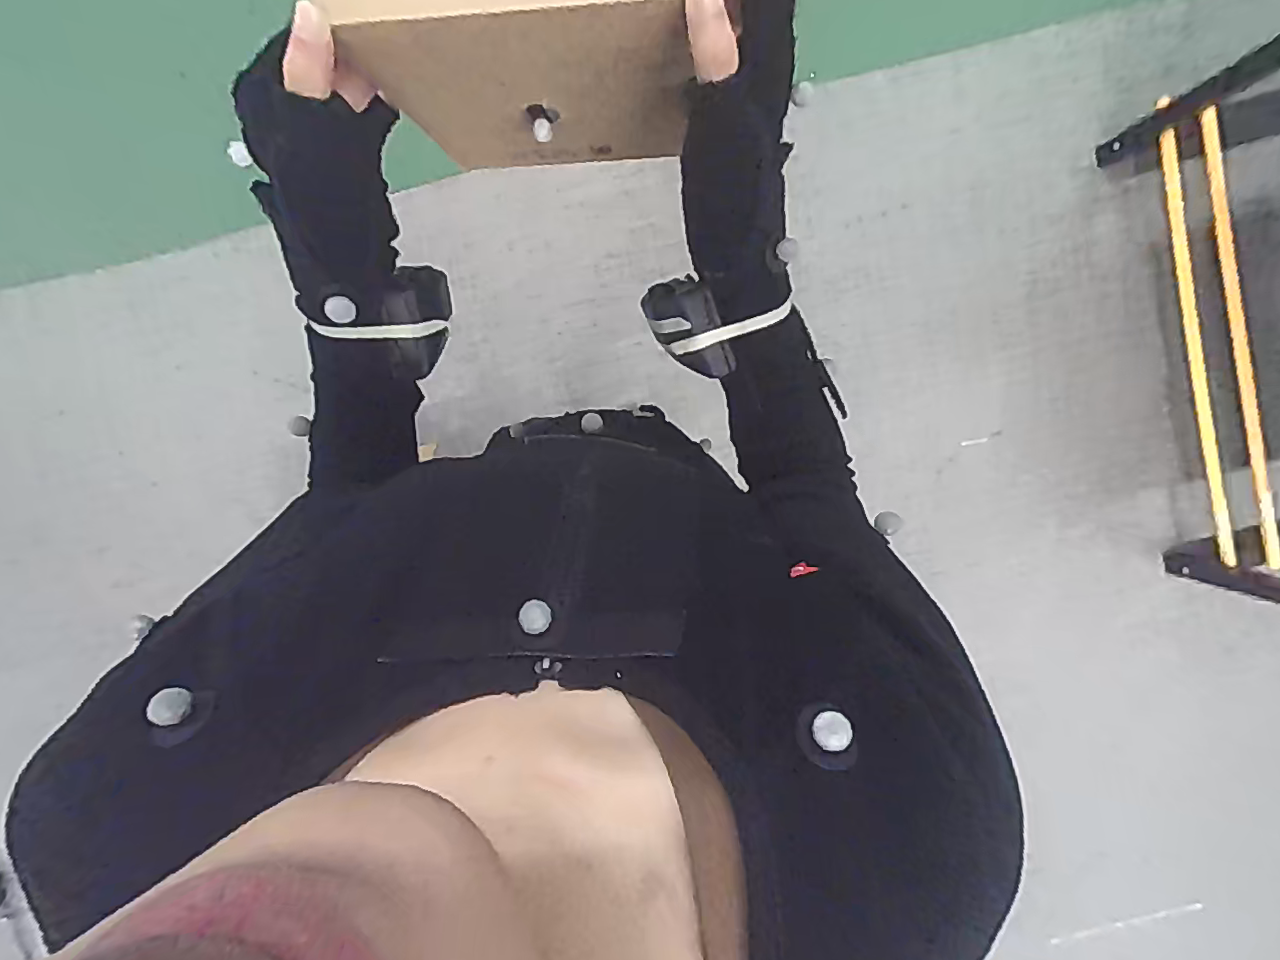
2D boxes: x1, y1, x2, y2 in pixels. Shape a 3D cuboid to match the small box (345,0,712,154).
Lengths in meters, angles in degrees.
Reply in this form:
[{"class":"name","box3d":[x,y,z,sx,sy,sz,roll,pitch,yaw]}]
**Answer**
[{"class":"small box","box3d":[-0.046,-0.299,0.295,0.168,0.176,0.179,-2,101,3]}]
